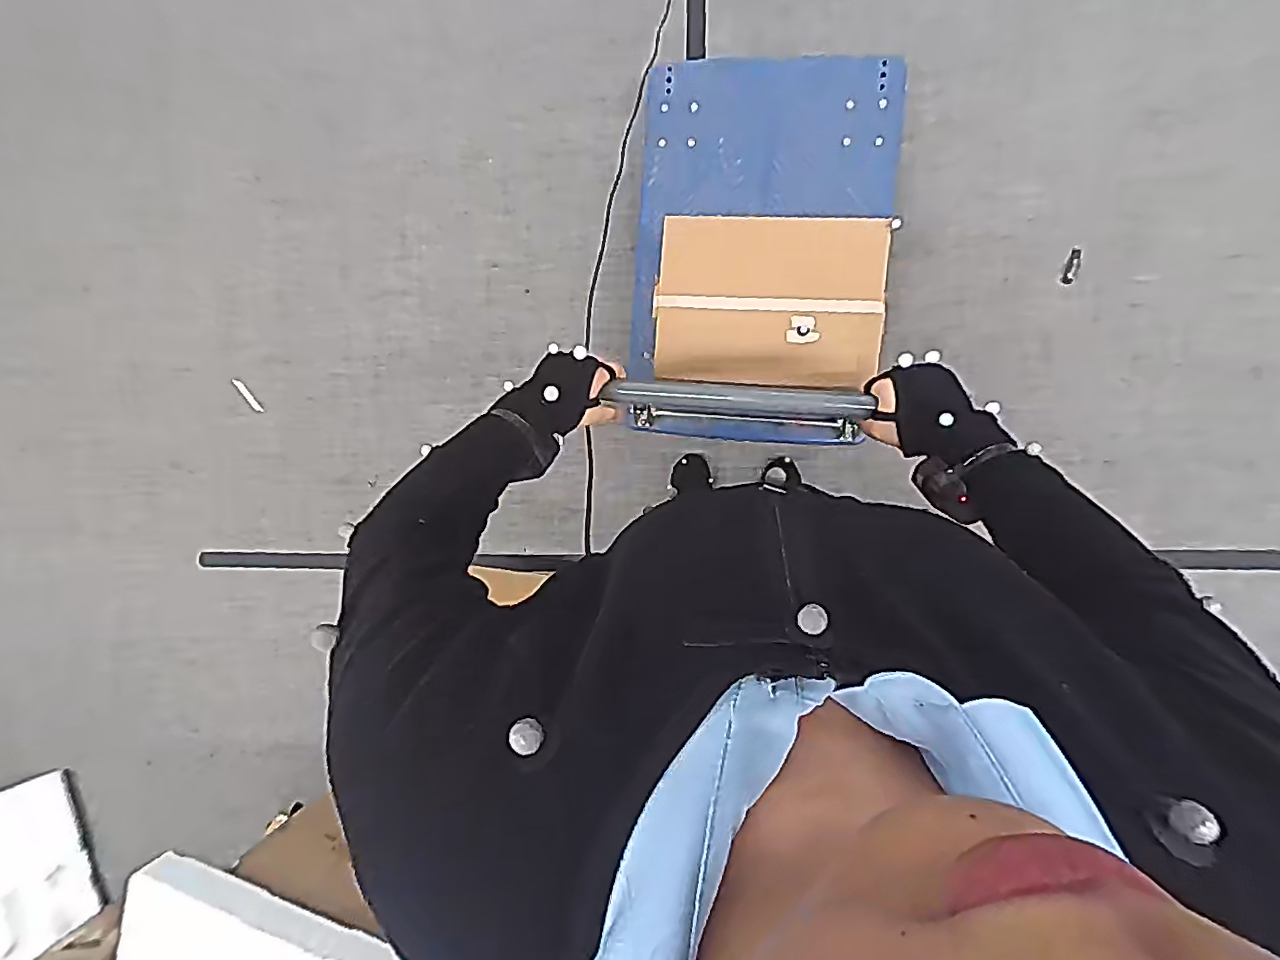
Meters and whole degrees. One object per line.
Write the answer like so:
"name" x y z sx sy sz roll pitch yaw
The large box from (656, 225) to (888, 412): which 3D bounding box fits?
"large box" 0.252 -0.315 1.136 0.408 0.320 0.320 5 95 8
